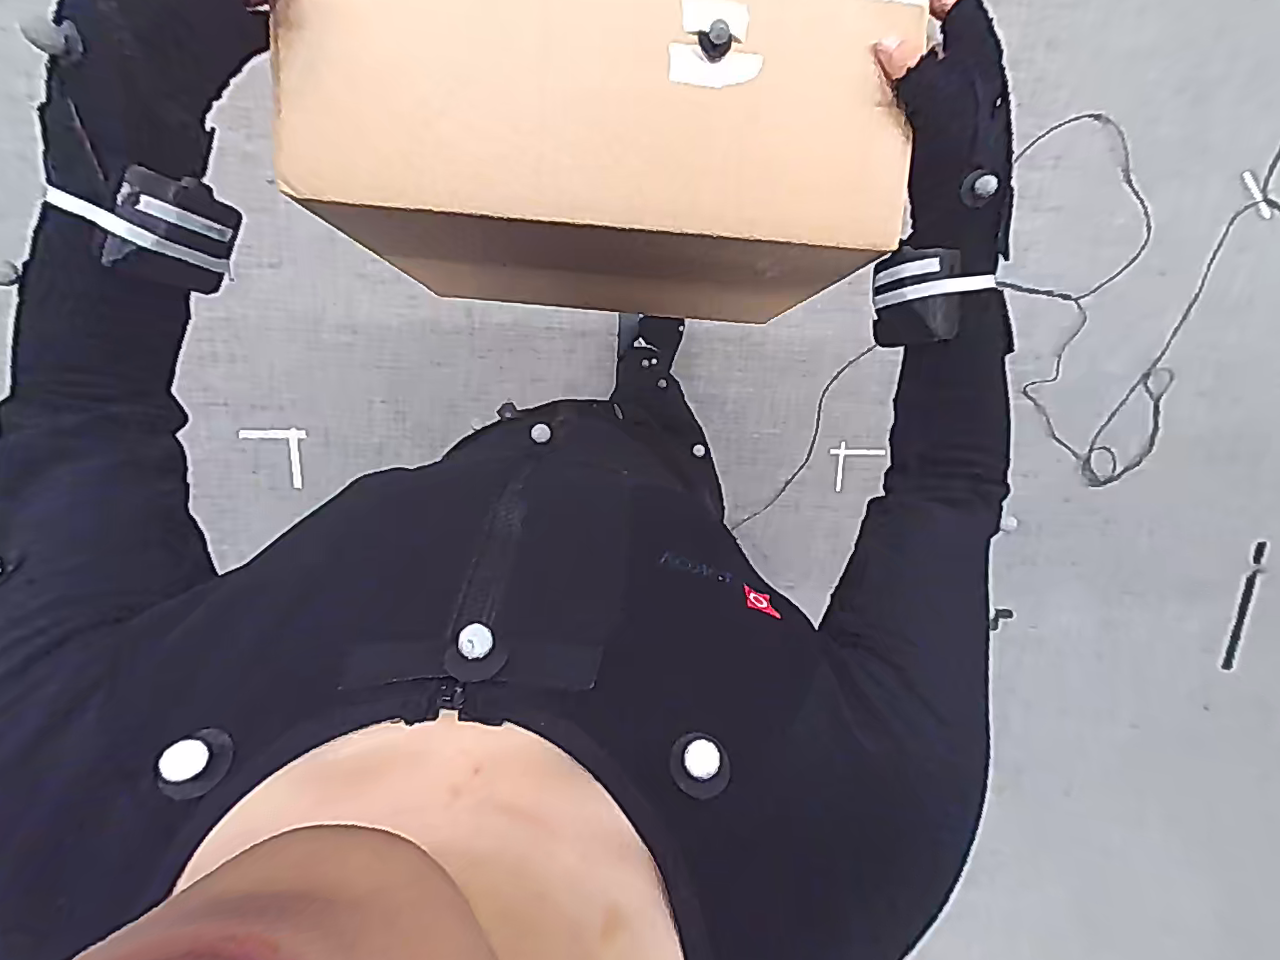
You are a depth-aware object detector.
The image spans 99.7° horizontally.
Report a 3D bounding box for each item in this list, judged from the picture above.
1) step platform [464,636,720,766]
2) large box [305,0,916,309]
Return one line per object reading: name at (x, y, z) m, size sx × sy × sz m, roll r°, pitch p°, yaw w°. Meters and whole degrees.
step platform at (-0.124, 0.603, 1.480) m, size 0.684 × 0.204 × 0.286 m, roll 0°, pitch 100°, yaw -1°
large box at (-0.022, -0.353, 0.496) m, size 0.408 × 0.320 × 0.320 m, roll 3°, pitch 98°, yaw -4°
